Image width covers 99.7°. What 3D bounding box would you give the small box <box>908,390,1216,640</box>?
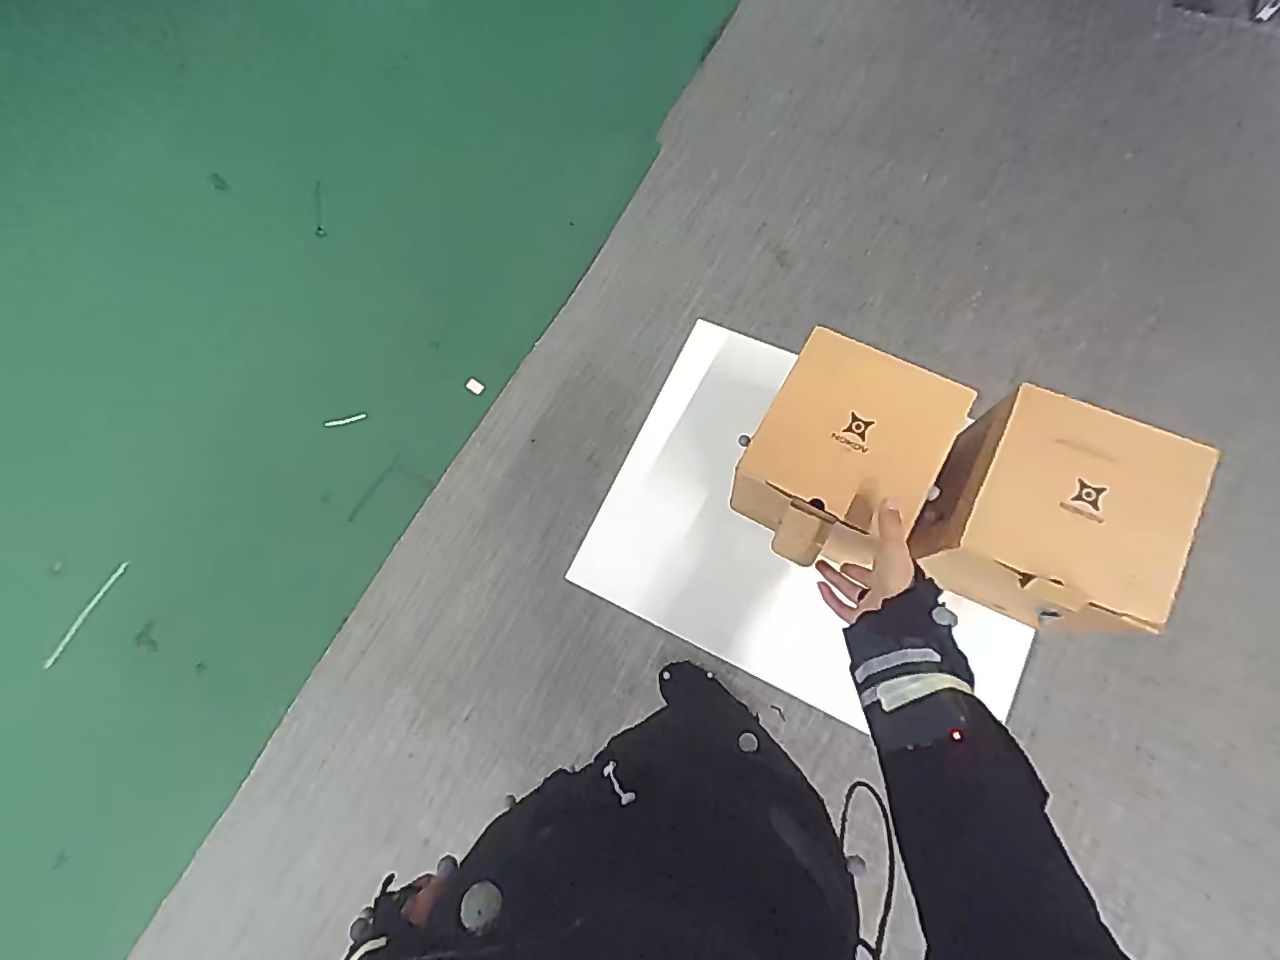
[{"bbox_3d":[0.397,0.044,0.545,0.168,0.176,0.179,24,79,13],"label":"small box"}]
